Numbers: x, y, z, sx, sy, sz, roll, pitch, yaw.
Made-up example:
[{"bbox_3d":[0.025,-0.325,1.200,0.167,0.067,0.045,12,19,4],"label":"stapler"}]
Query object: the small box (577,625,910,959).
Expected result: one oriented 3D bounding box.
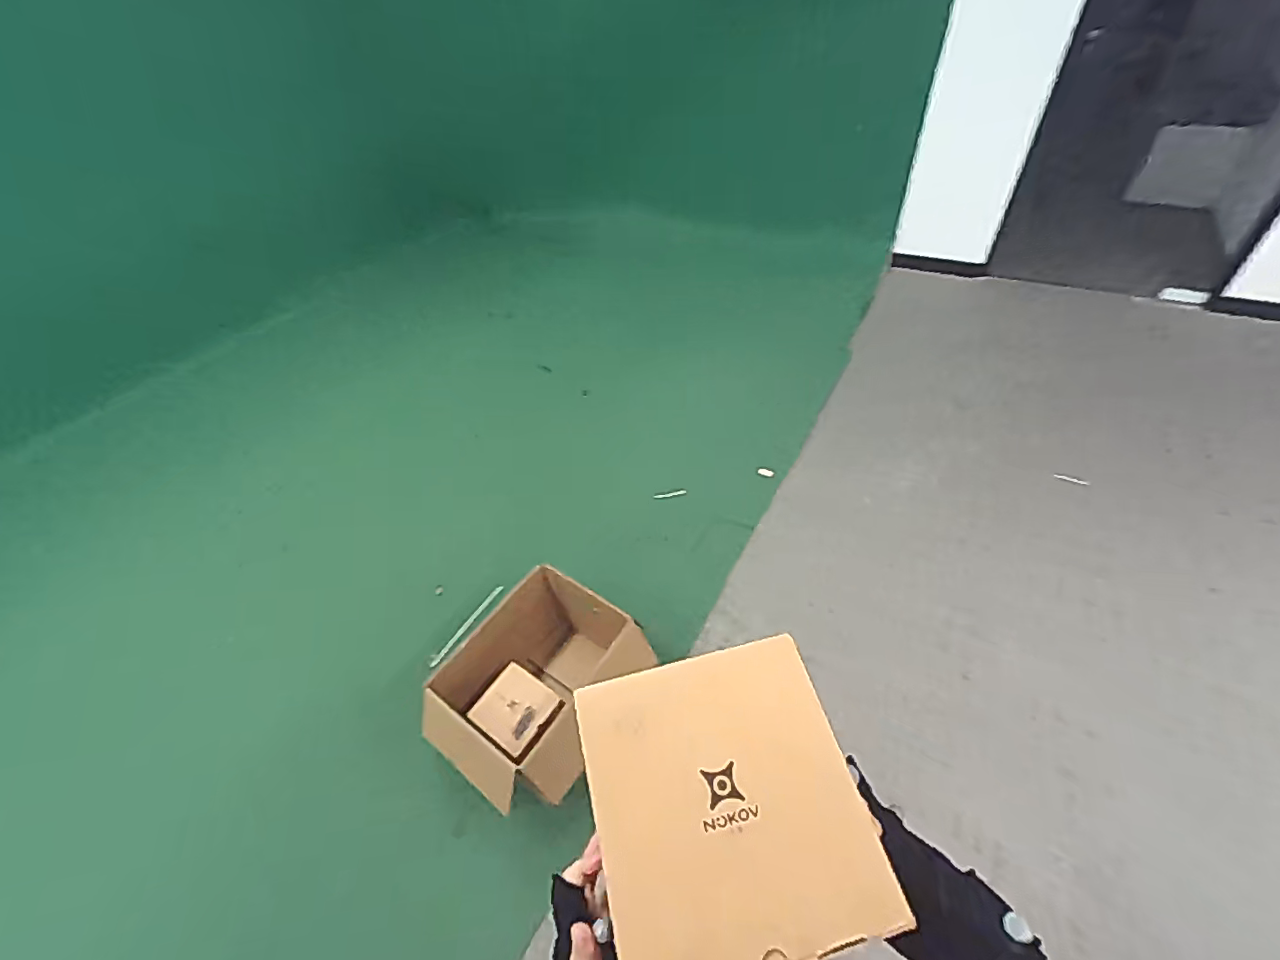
[{"bbox_3d":[0.054,0.239,0.405,0.168,0.176,0.179,-13,54,-8],"label":"small box"}]
